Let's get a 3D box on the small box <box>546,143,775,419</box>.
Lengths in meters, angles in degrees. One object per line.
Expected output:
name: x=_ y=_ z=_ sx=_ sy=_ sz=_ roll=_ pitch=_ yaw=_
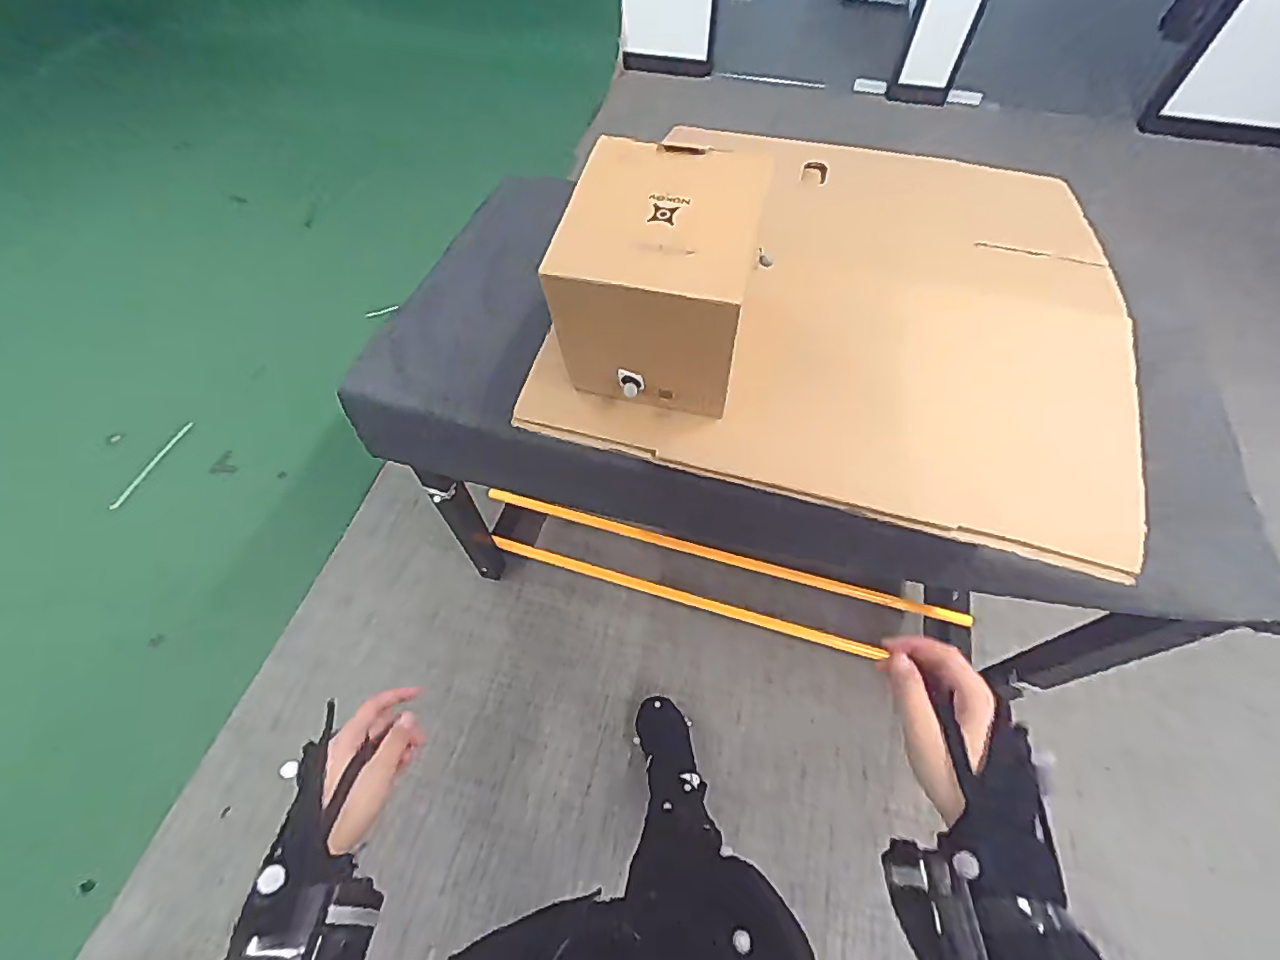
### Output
small box: x=0.025 y=-0.187 z=0.529 sx=0.168 sy=0.176 sz=0.179 roll=11 pitch=67 yaw=9
